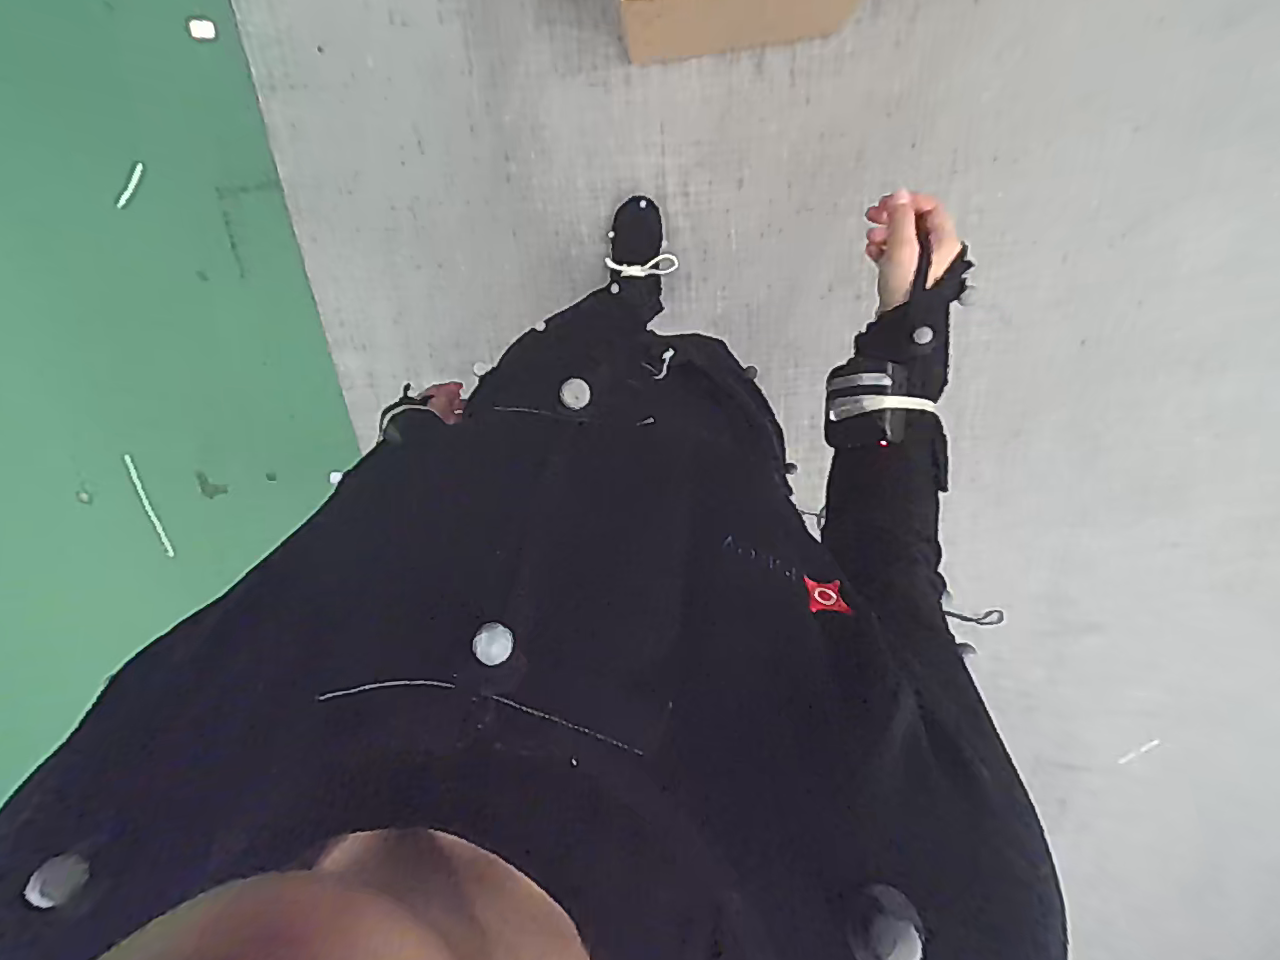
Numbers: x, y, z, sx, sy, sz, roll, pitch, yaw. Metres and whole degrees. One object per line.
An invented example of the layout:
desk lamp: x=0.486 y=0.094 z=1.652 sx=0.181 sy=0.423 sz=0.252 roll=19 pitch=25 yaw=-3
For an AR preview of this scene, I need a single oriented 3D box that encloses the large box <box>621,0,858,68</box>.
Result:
large box: x=0.152 y=-0.913 z=0.853 sx=0.408 sy=0.320 sz=0.320 roll=-6 pitch=113 yaw=4
